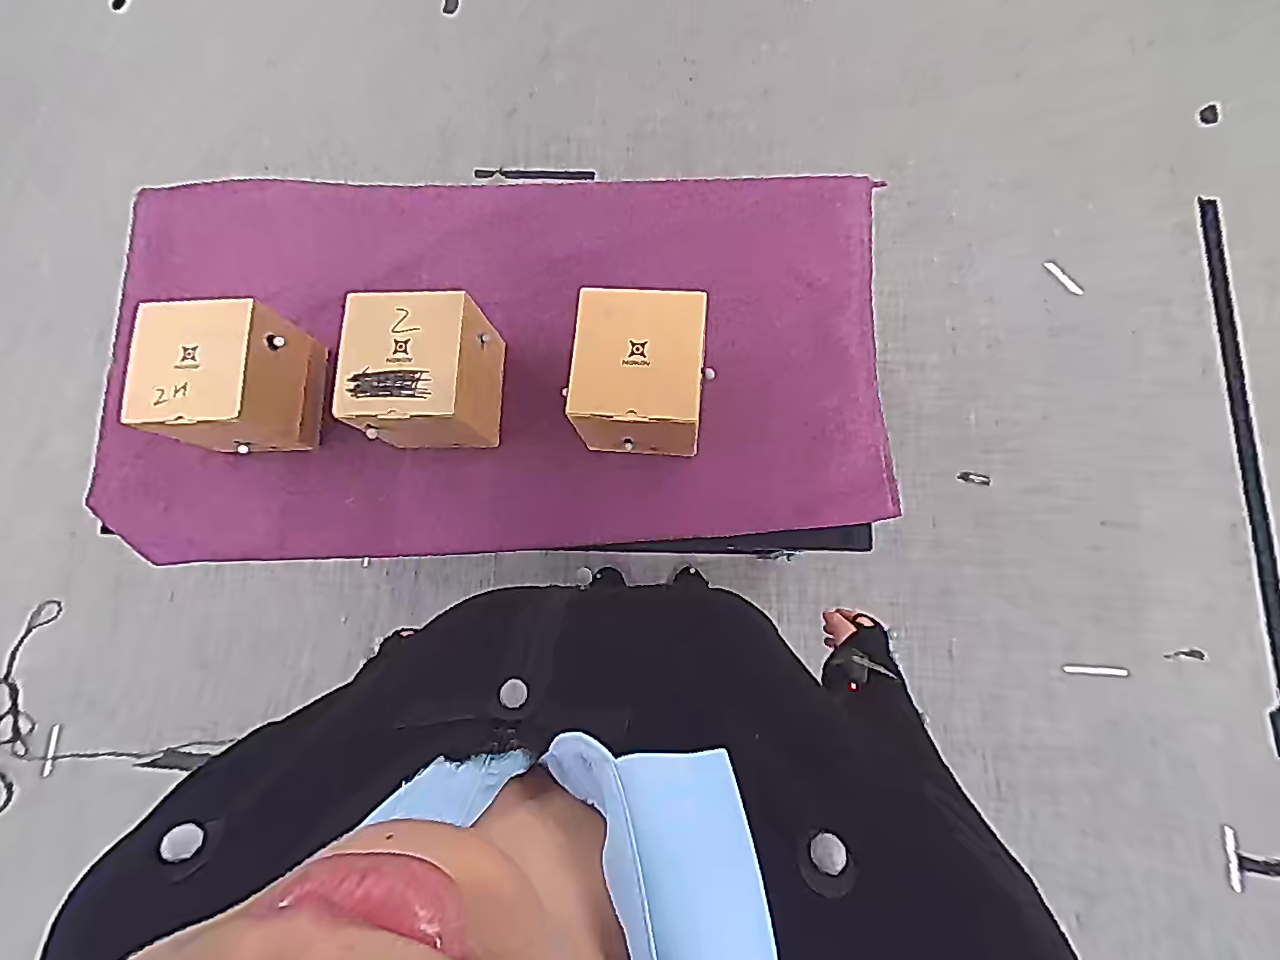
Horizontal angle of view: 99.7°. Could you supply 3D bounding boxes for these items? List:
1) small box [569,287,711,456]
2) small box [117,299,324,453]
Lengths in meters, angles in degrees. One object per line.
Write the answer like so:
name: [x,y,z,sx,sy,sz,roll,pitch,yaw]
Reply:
small box: [0.006,-0.142,0.751,0.168,0.176,0.179,4,79,5]
small box: [-0.595,-0.144,0.794,0.168,0.176,0.179,-1,80,3]
